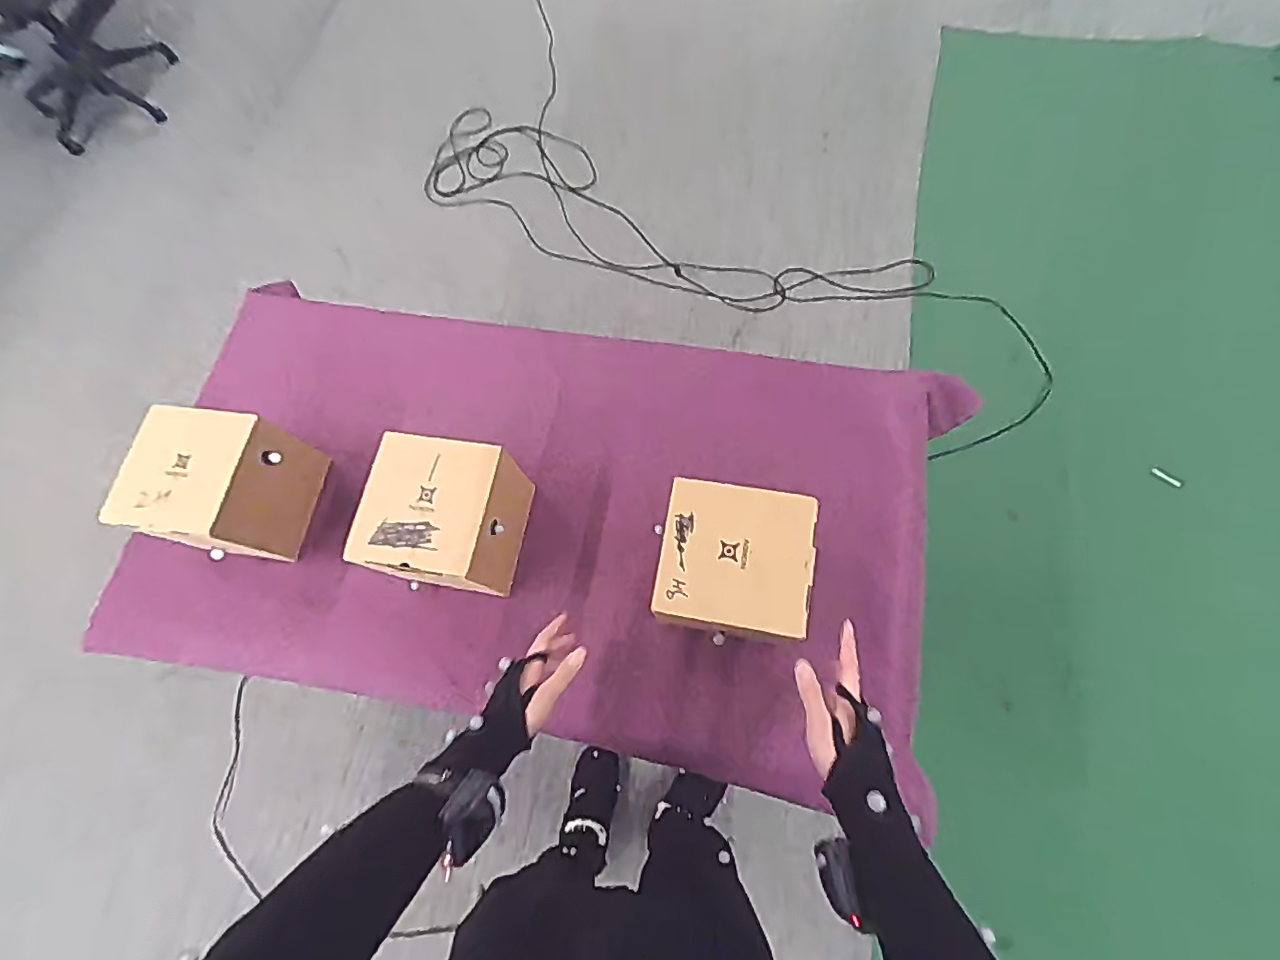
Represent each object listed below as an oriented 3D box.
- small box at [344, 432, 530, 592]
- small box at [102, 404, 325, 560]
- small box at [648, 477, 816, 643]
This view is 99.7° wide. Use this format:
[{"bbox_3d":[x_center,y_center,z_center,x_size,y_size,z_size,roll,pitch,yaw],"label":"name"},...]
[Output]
[{"bbox_3d":[-0.267,0.053,0.759,0.168,0.176,0.179,8,71,7],"label":"small box"},{"bbox_3d":[-0.609,0.009,0.802,0.168,0.176,0.179,7,71,7],"label":"small box"},{"bbox_3d":[0.115,0.112,0.703,0.179,0.176,0.168,9,71,8],"label":"small box"}]
